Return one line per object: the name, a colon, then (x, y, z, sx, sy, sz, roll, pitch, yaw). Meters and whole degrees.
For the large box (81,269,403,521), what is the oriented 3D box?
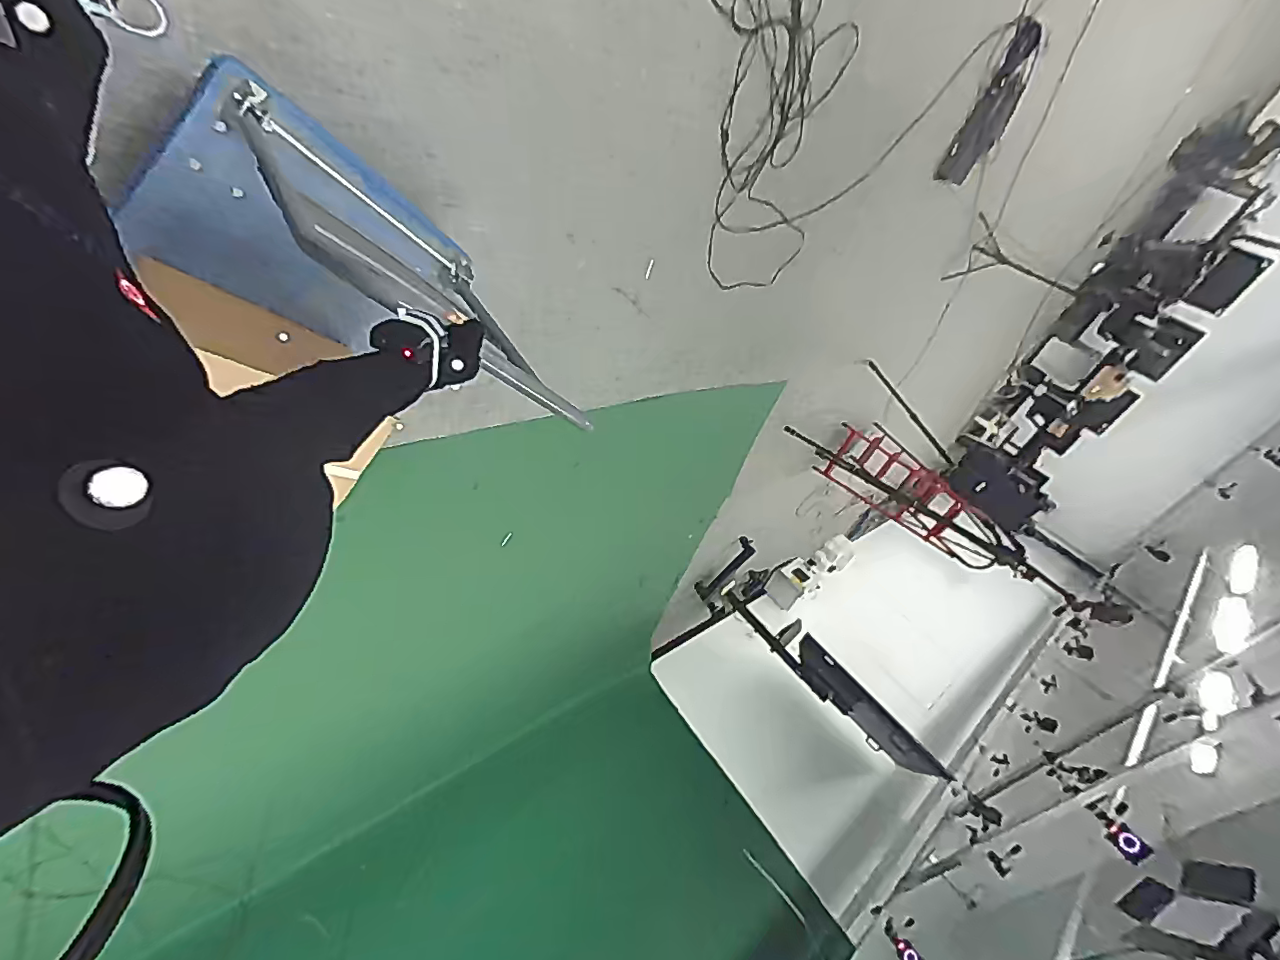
large box: (-0.792, -0.149, 1.099, 0.320, 0.320, 0.408, -50, 151, 11)
